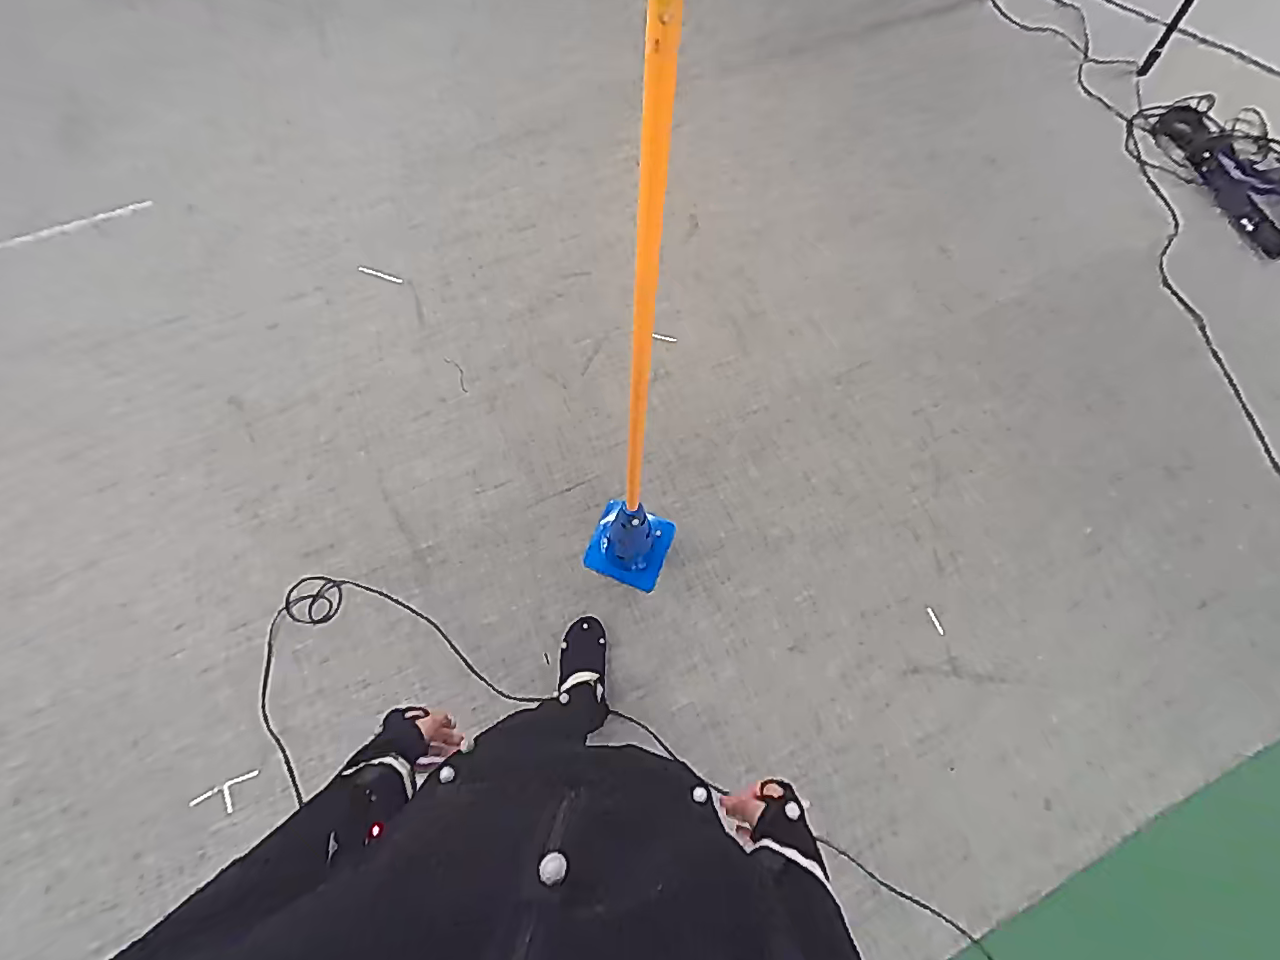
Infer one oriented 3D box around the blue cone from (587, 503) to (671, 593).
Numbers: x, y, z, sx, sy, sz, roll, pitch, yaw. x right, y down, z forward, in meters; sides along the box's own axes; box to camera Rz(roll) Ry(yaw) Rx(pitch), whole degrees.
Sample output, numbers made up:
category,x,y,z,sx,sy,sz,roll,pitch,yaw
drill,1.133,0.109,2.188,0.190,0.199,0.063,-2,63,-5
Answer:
category,x,y,z,sx,sy,sz,roll,pitch,yaw
blue cone,-0.024,0.123,1.243,0.192,0.380,0.193,20,70,5
